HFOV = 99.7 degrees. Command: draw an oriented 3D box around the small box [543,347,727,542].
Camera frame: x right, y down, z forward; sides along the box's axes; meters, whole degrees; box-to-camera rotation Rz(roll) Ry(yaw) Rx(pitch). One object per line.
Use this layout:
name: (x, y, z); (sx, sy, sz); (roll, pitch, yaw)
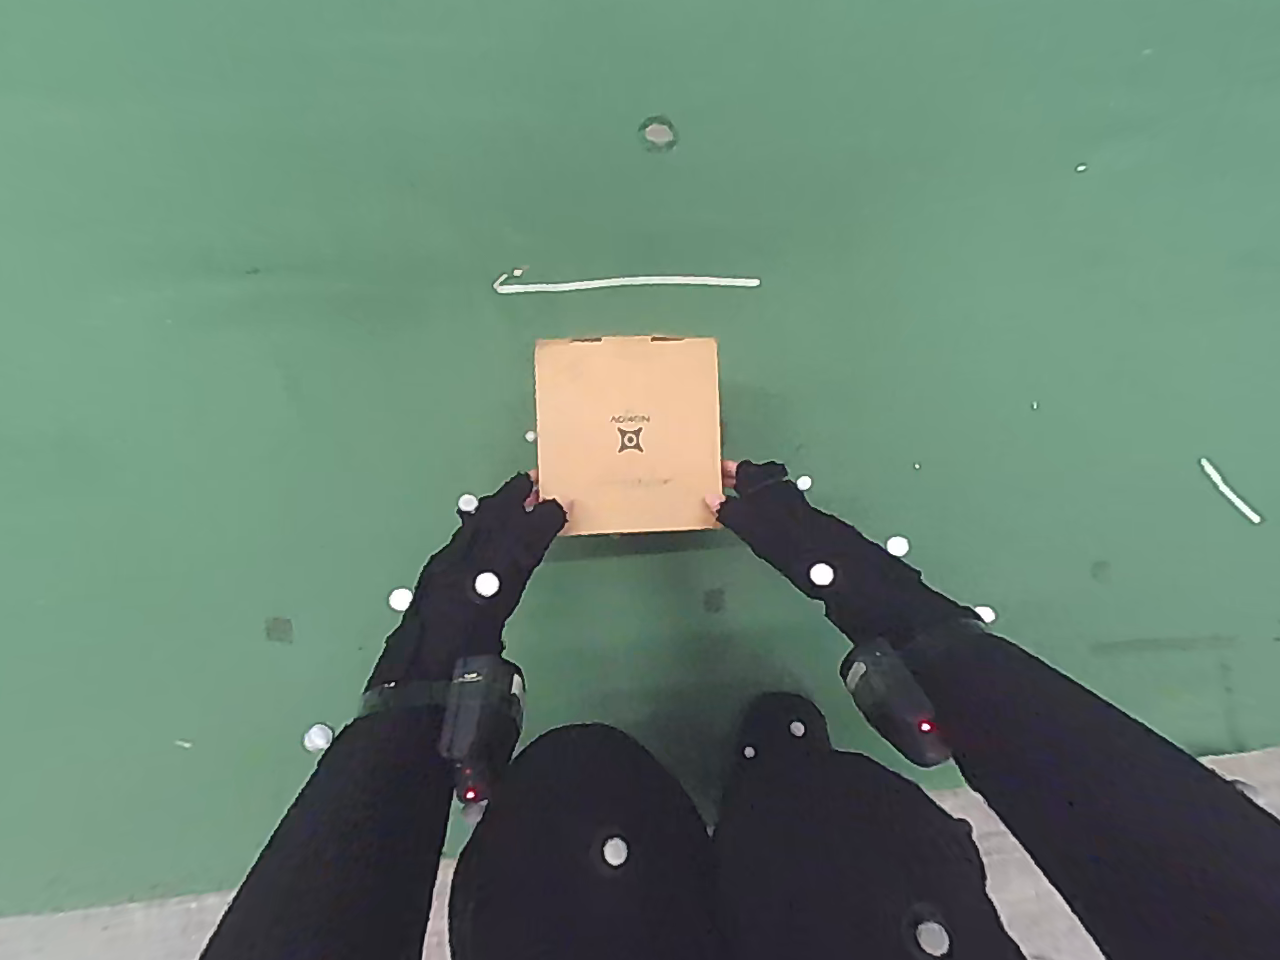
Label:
small box: (-0.010, -0.032, 0.569); (0.168, 0.176, 0.179); (-3, 90, -4)
